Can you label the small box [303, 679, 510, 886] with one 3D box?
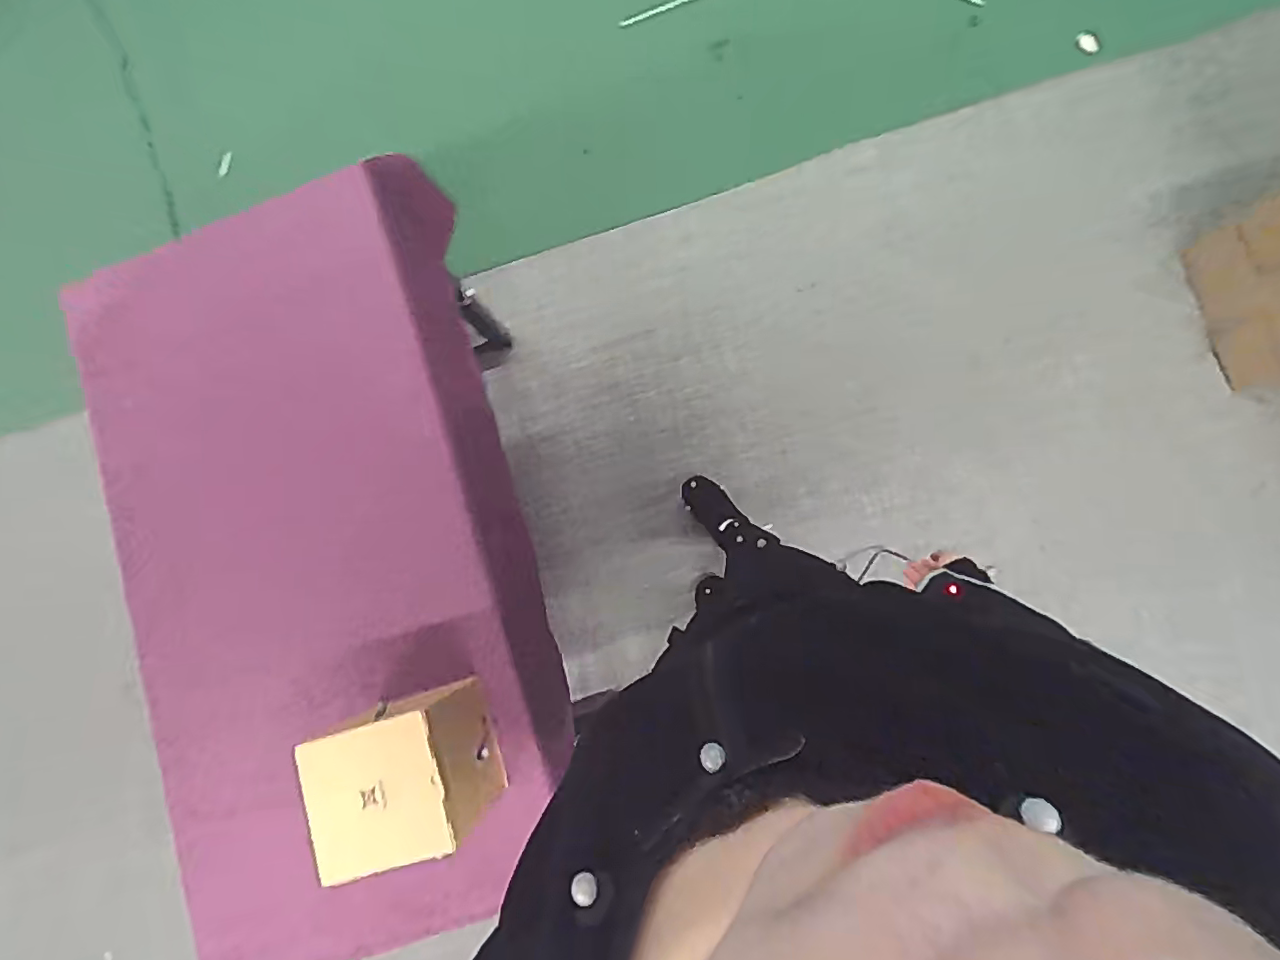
[{"bbox_3d":[-0.300,0.388,0.724,0.179,0.176,0.168,-19,82,4],"label":"small box"}]
